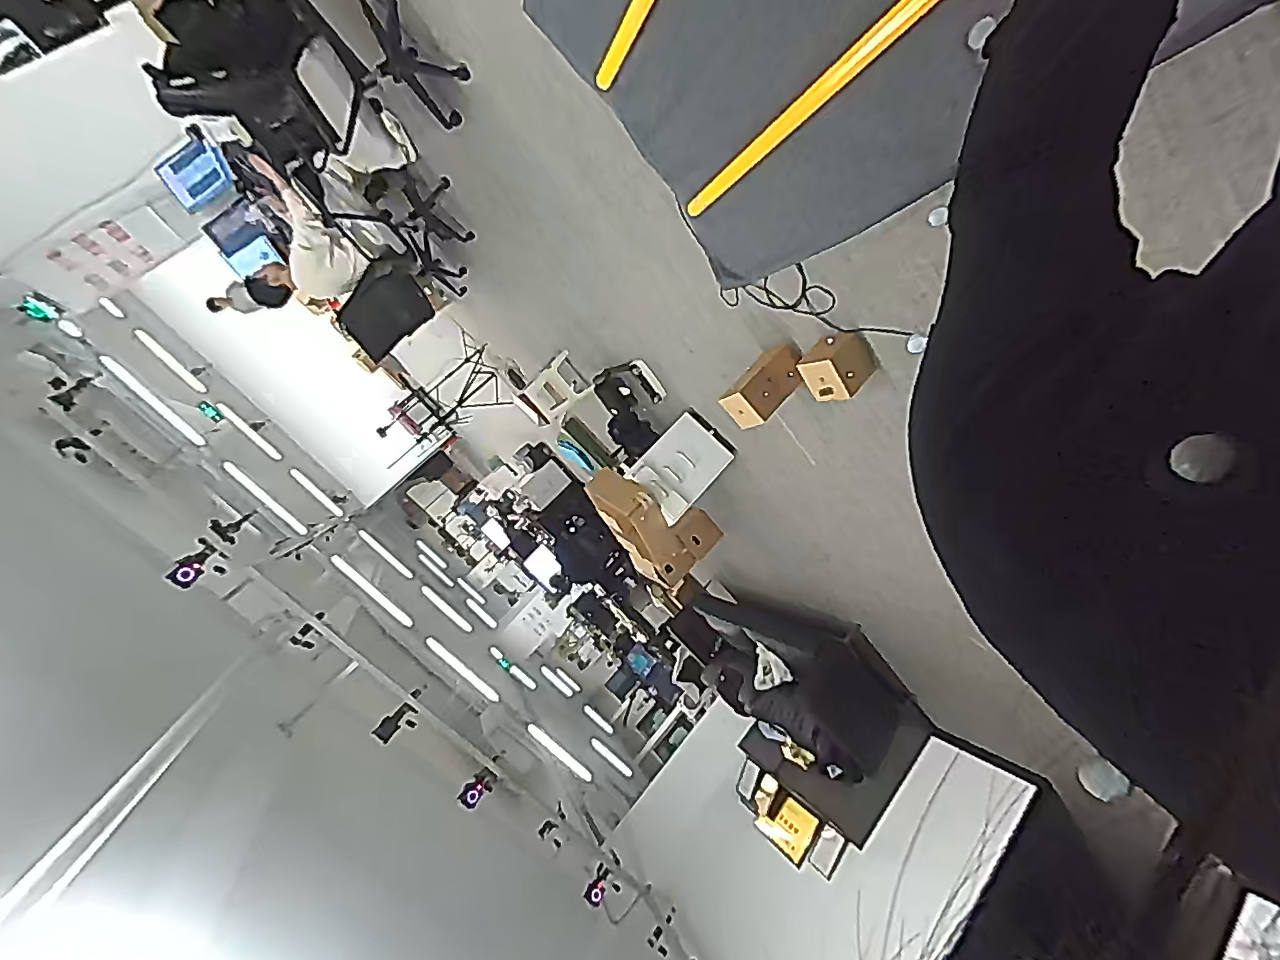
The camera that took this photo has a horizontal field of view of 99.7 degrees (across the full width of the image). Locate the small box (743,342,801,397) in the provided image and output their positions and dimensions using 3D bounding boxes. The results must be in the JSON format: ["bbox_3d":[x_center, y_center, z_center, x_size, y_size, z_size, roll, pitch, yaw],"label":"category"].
[{"bbox_3d":[0.563,-0.452,2.271,0.168,0.176,0.179,47,164,-13],"label":"small box"}]

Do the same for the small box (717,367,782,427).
[{"bbox_3d":[0.454,-0.341,2.216,0.168,0.176,0.179,47,164,-12],"label":"small box"}]

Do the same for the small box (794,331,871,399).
[{"bbox_3d":[0.714,-0.421,1.994,0.179,0.176,0.168,51,162,-22],"label":"small box"}]
